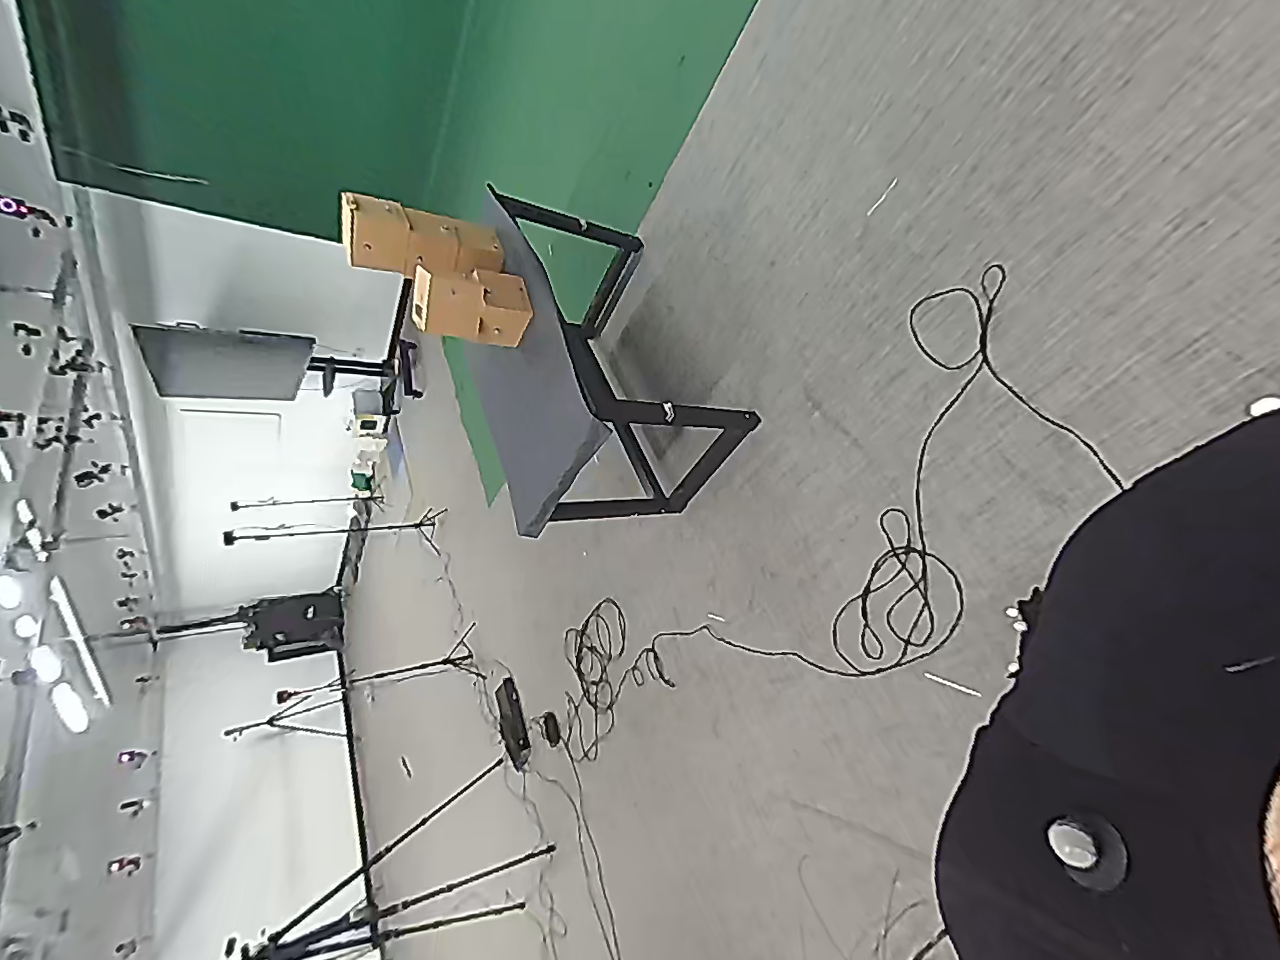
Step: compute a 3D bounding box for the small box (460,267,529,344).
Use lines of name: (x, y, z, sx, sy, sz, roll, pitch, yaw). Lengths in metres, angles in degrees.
small box: (-0.489, -0.578, 1.818, 0.179, 0.176, 0.168, -45, 58, 46)

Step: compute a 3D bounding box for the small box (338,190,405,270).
small box: (-0.887, -0.816, 1.783, 0.168, 0.176, 0.179, 56, 134, 32)

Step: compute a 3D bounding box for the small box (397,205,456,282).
small box: (-0.757, -0.818, 1.886, 0.168, 0.176, 0.179, 59, 135, 30)

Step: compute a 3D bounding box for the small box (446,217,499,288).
small box: (-0.629, -0.825, 1.986, 0.179, 0.176, 0.168, -55, 51, 42)
